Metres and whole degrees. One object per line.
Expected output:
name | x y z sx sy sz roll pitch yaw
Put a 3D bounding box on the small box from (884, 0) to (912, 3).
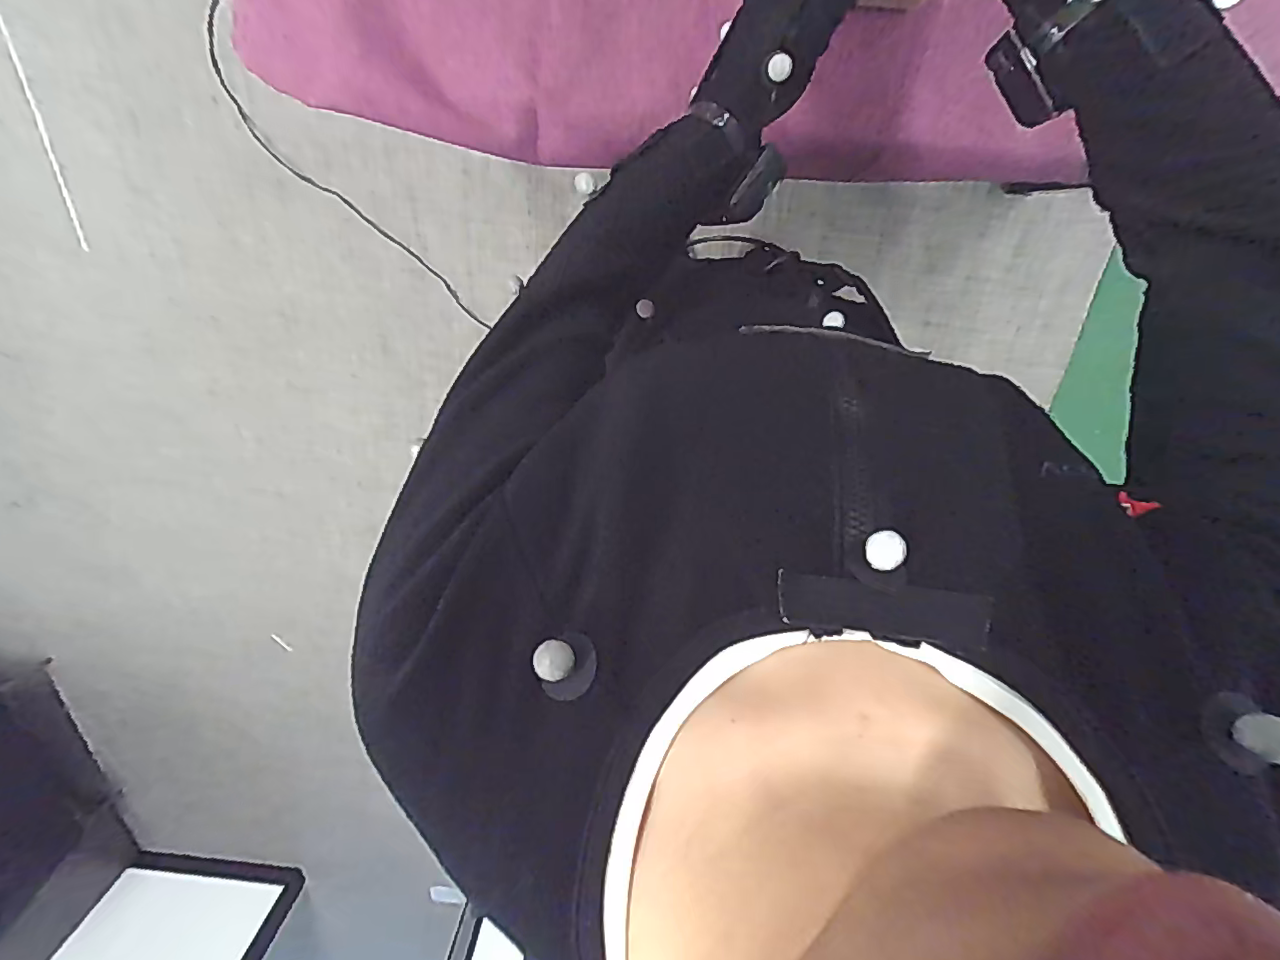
small box | 0.185 -0.502 0.406 0.168 0.176 0.179 6 112 2
